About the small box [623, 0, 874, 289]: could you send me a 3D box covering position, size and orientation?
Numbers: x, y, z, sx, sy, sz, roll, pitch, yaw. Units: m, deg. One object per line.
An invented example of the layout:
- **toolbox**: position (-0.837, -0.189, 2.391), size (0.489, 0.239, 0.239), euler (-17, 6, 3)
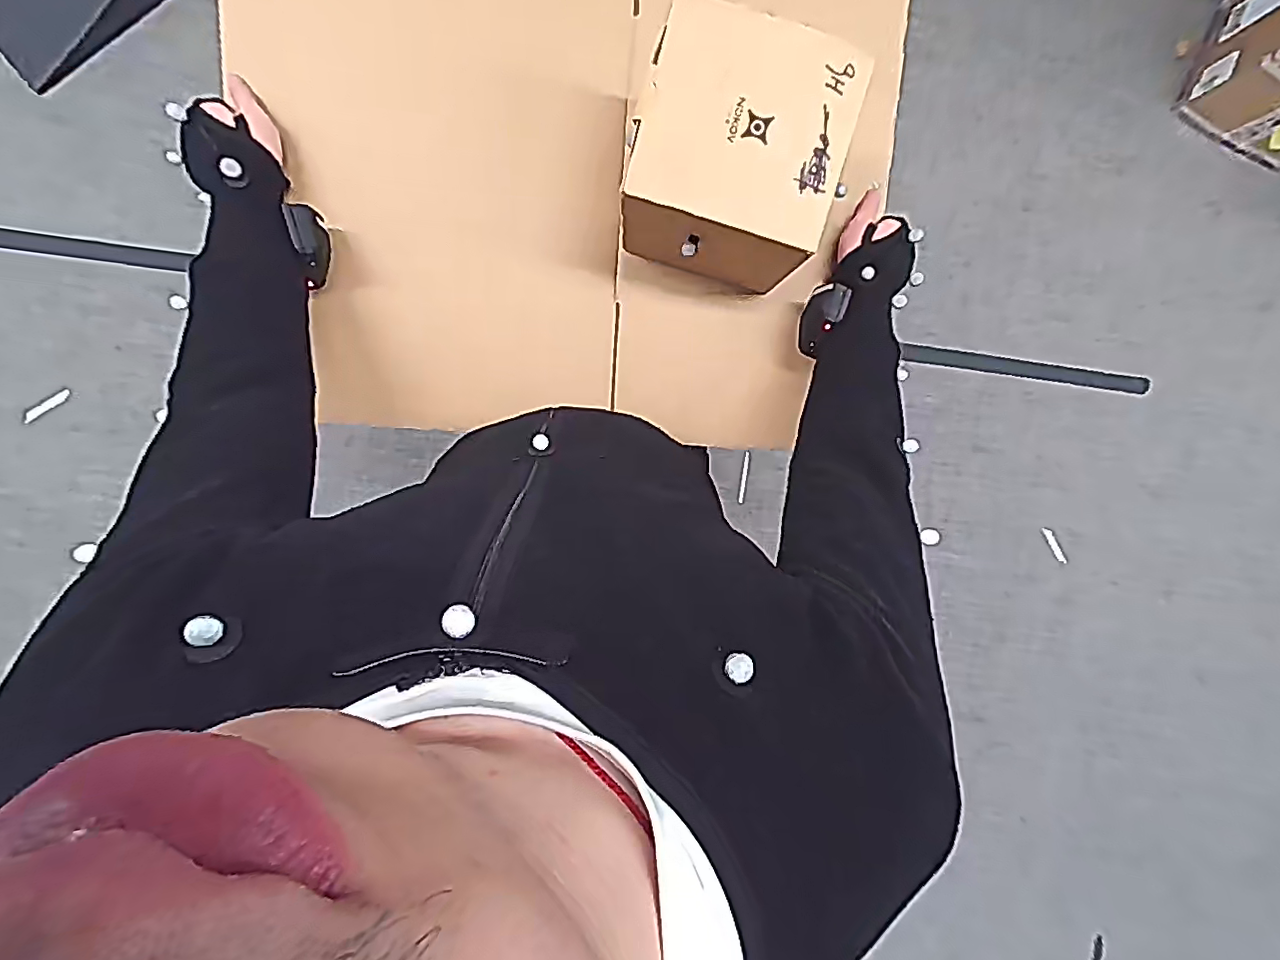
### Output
- **small box**: position (0.090, -0.306, 0.535), size (0.179, 0.176, 0.168), euler (16, 96, -2)
